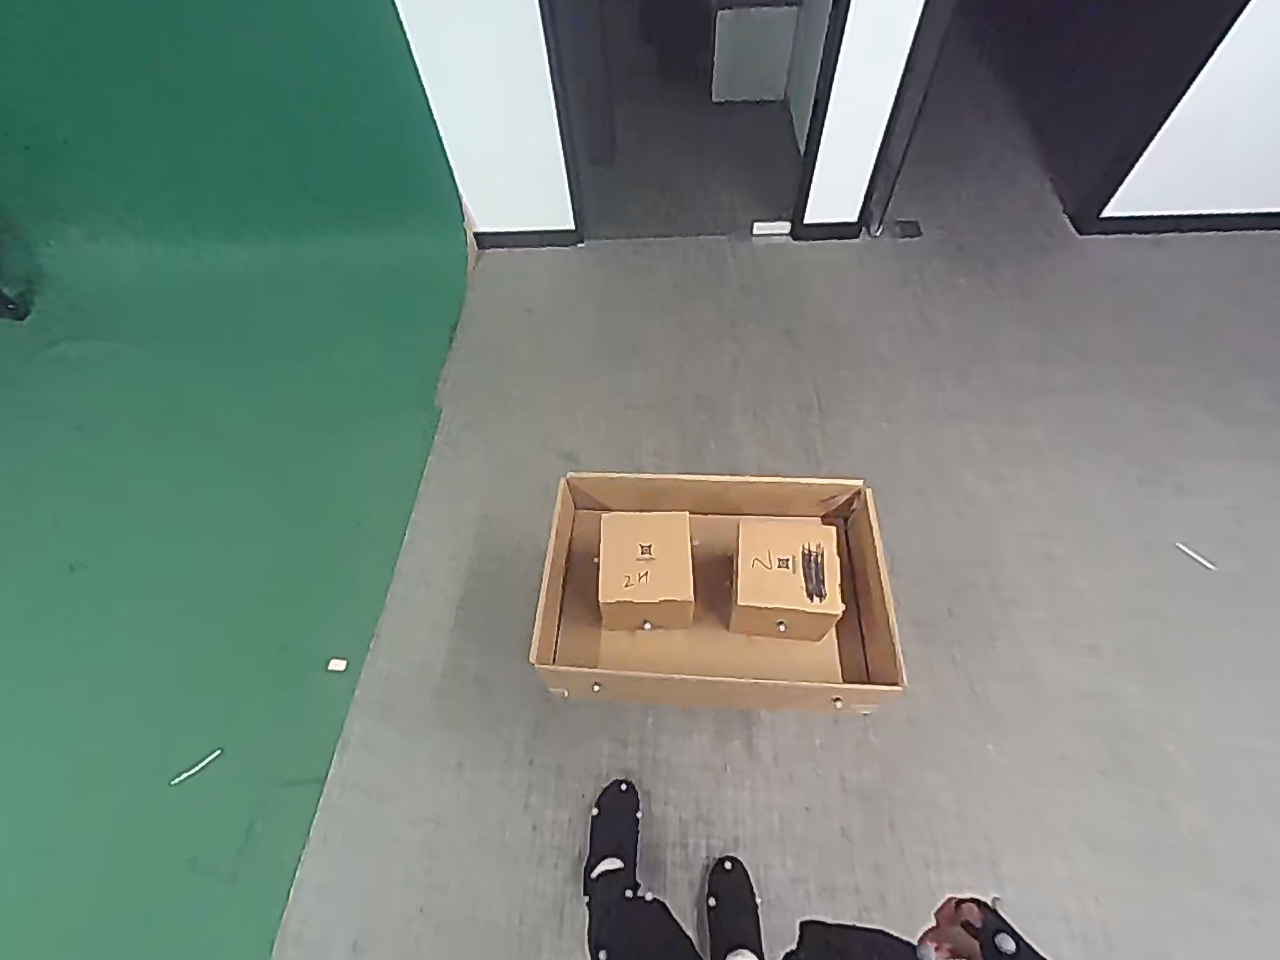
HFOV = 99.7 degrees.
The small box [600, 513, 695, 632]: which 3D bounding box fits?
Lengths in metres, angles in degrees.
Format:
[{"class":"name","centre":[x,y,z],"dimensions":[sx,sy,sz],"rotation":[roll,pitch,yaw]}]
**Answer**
[{"class":"small box","centre":[0.017,0.178,1.033],"dimensions":[0.168,0.176,0.179],"rotation":[-1,58,3]}]
